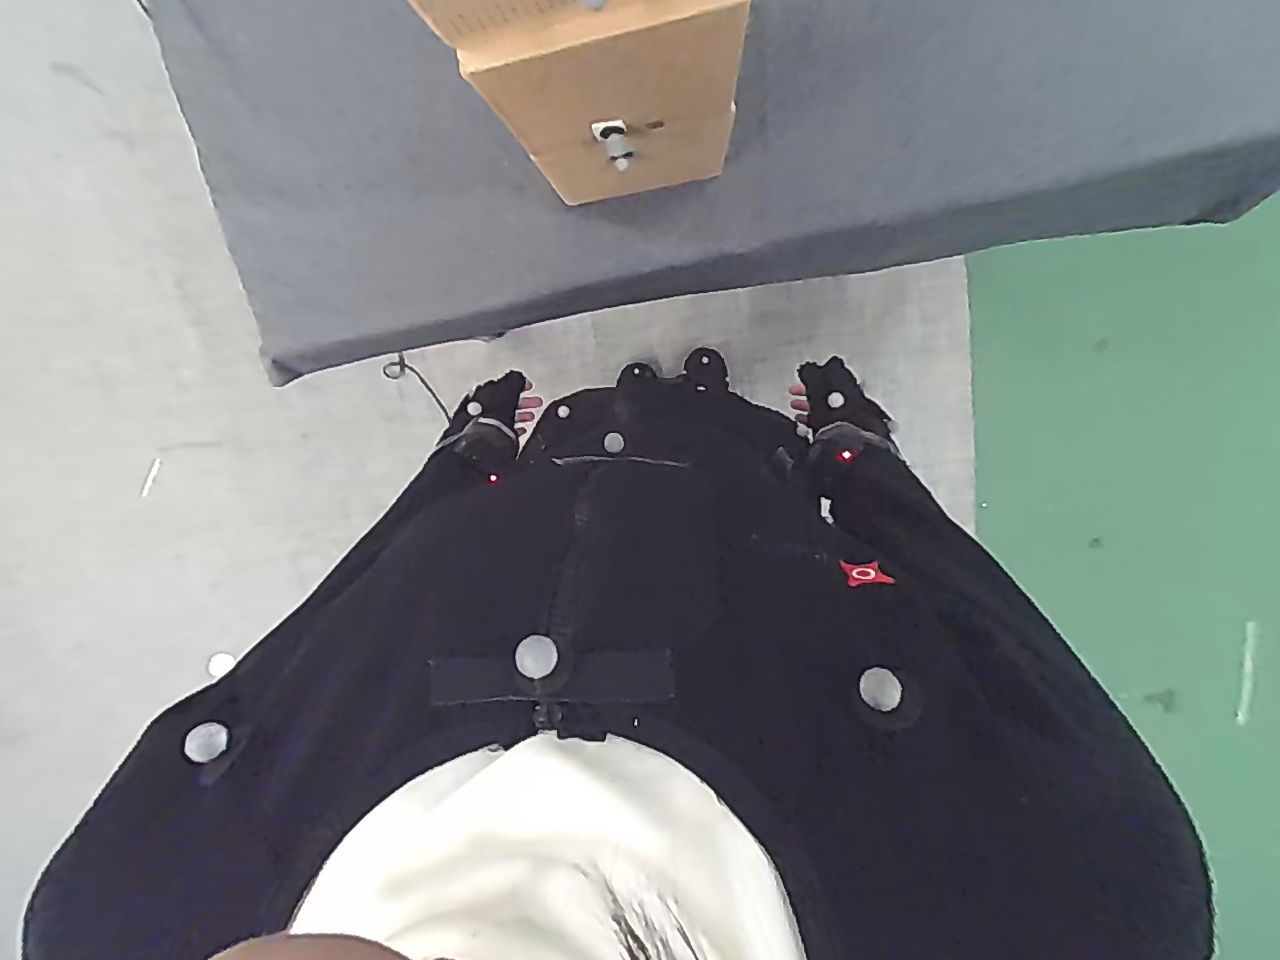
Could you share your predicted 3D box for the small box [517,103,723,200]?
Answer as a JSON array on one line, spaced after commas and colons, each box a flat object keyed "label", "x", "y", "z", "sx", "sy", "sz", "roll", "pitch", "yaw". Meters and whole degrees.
[{"label": "small box", "x": -0.020, "y": -0.383, "z": 0.510, "sx": 0.179, "sy": 0.176, "sz": 0.168, "roll": -7, "pitch": 103, "yaw": 6}]

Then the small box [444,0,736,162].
[{"label": "small box", "x": -0.034, "y": -0.343, "z": 0.354, "sx": 0.168, "sy": 0.176, "sz": 0.179, "roll": -8, "pitch": 104, "yaw": 9}]
